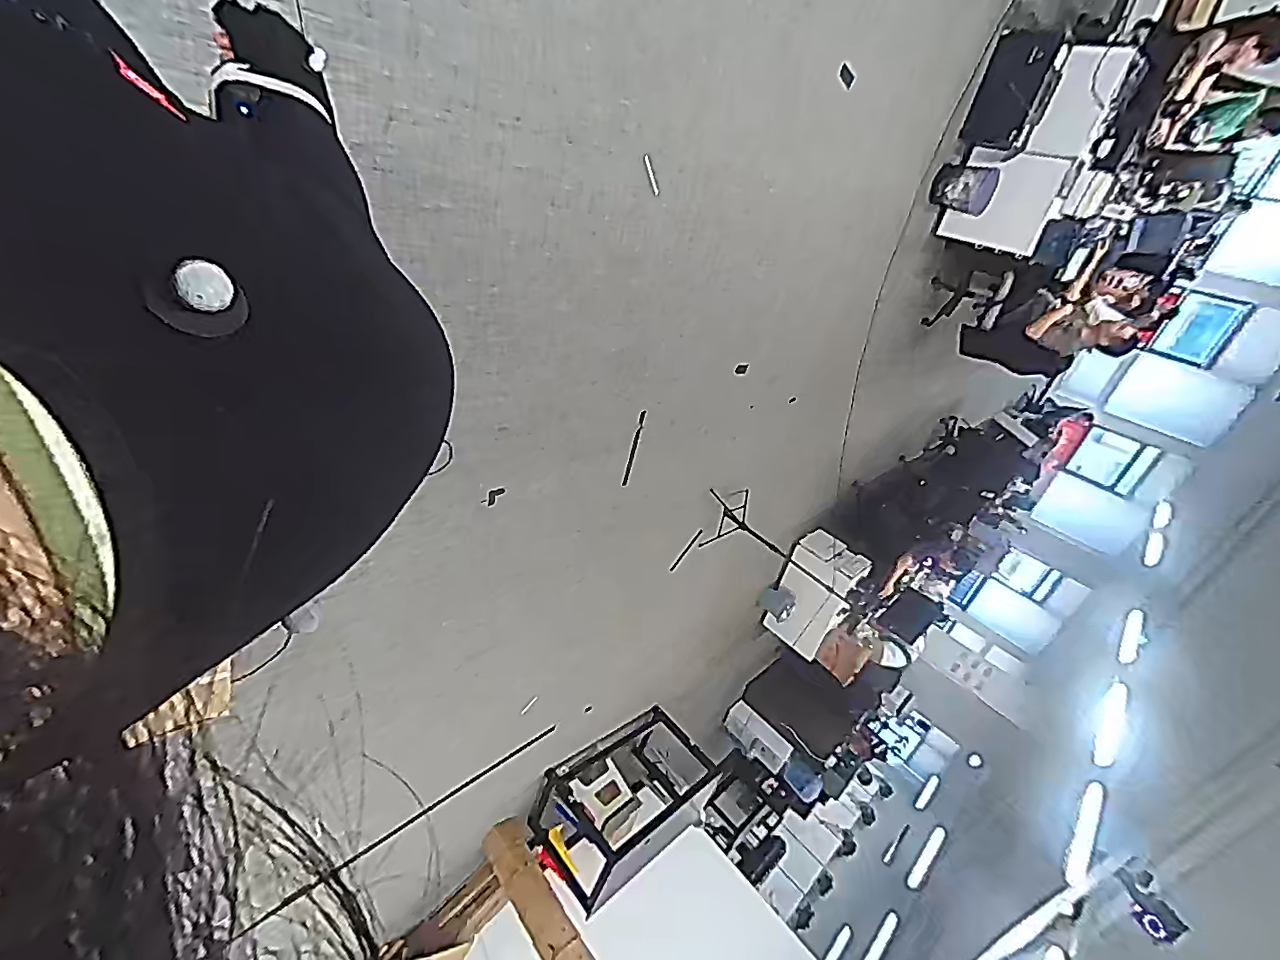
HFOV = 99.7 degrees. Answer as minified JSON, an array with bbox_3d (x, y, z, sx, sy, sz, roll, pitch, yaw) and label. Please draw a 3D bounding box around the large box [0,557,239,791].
[{"bbox_3d":[-1.247,0.428,1.296,0.408,0.320,0.320,-9,126,-47],"label":"large box"}]
